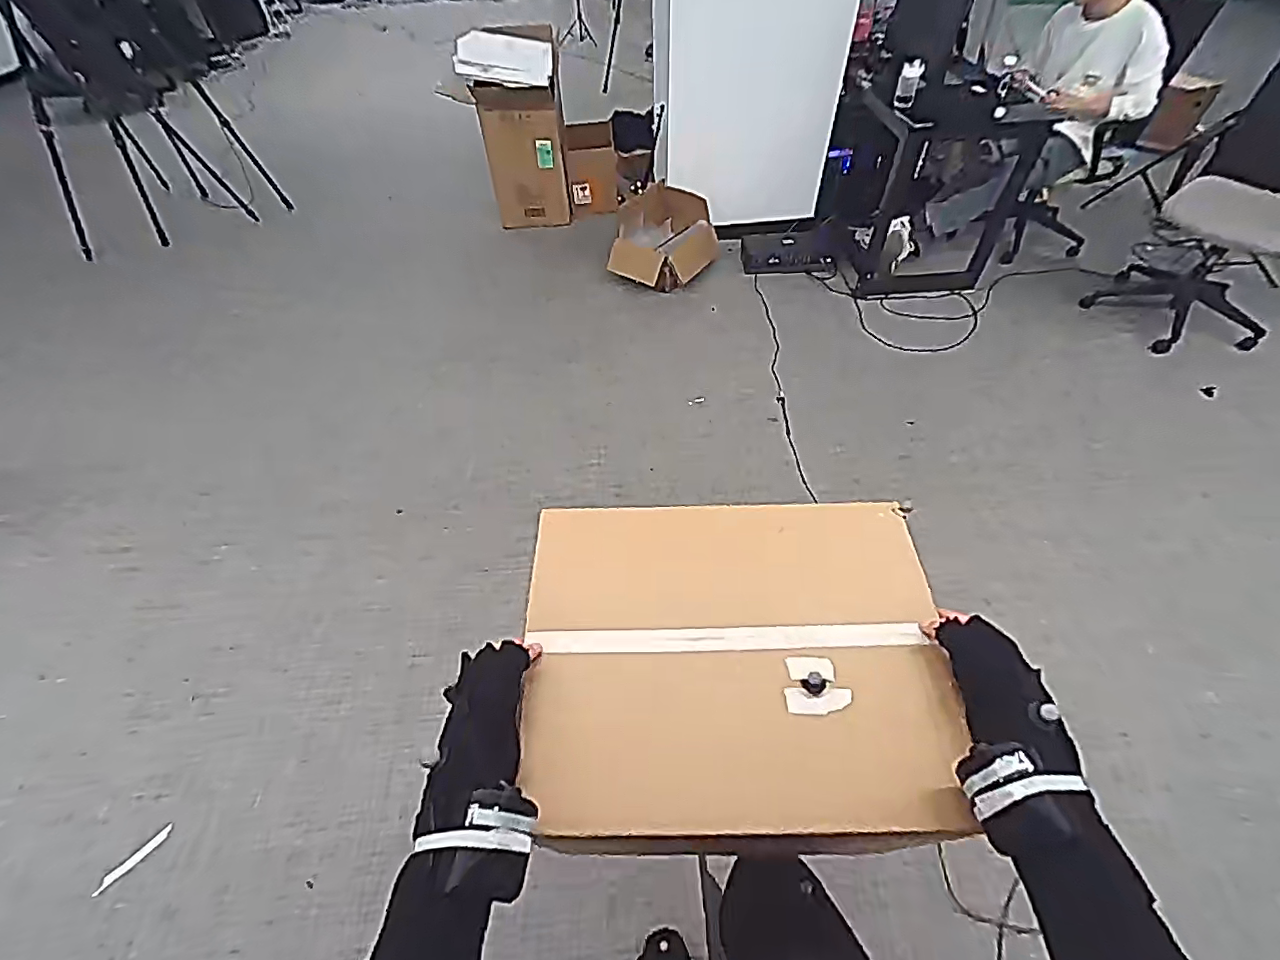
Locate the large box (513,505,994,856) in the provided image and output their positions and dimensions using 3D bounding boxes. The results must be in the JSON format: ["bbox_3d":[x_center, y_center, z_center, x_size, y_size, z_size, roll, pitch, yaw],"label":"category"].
[{"bbox_3d":[0.092,0.247,0.646,0.408,0.320,0.320,-1,53,1],"label":"large box"}]
